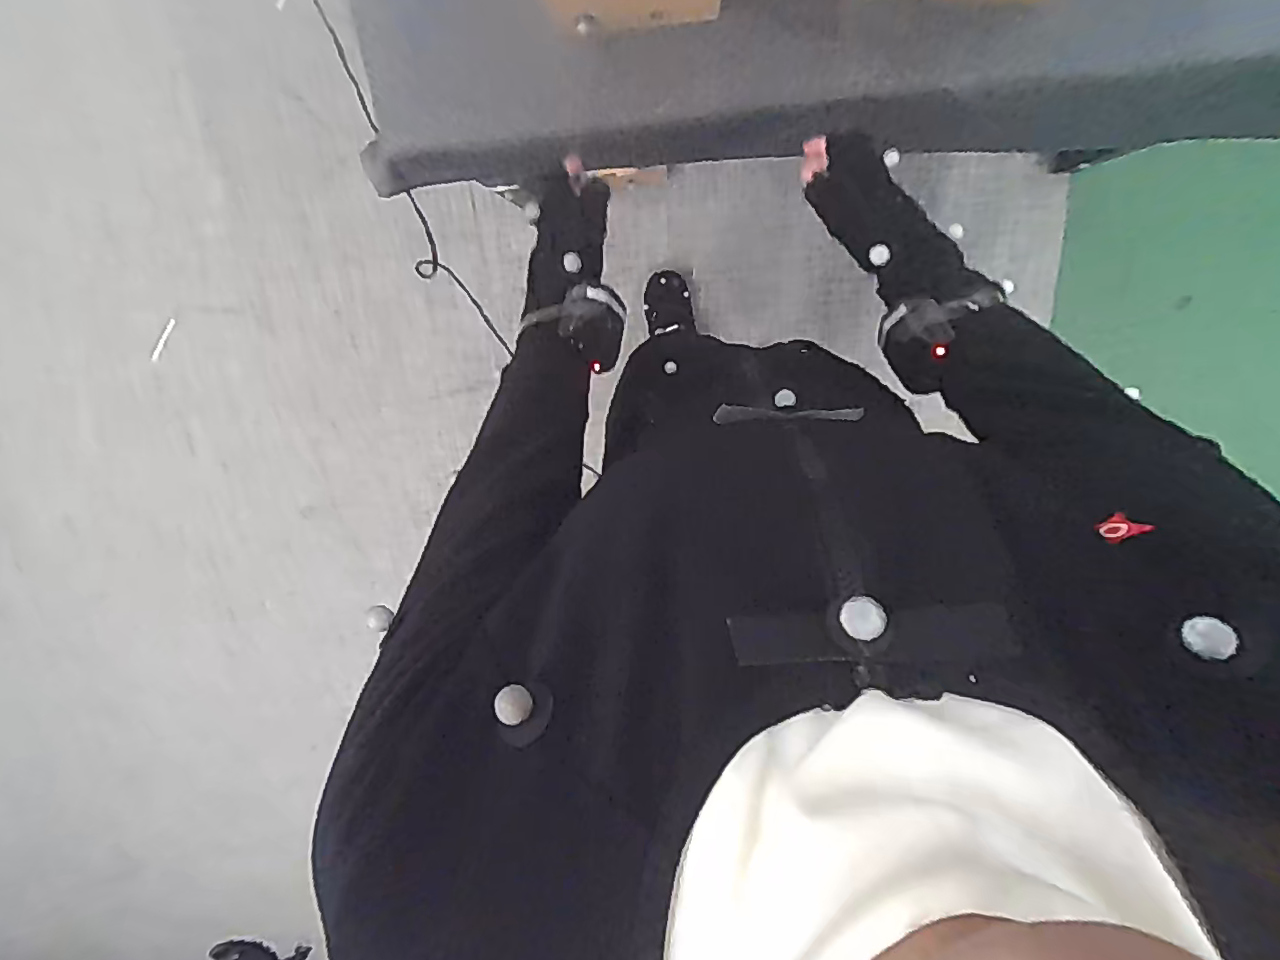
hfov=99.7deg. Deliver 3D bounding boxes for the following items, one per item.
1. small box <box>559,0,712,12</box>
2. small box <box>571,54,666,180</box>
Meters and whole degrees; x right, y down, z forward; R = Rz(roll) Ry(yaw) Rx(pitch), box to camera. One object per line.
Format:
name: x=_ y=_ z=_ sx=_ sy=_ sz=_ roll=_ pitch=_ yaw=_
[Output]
small box: x=-0.012 y=-0.524 z=0.442 sx=0.168 sy=0.176 sz=0.179 roll=-2 pitch=107 yaw=4
small box: x=-0.037 y=-0.750 z=1.141 sx=0.168 sy=0.176 sz=0.179 roll=-8 pitch=109 yaw=5
